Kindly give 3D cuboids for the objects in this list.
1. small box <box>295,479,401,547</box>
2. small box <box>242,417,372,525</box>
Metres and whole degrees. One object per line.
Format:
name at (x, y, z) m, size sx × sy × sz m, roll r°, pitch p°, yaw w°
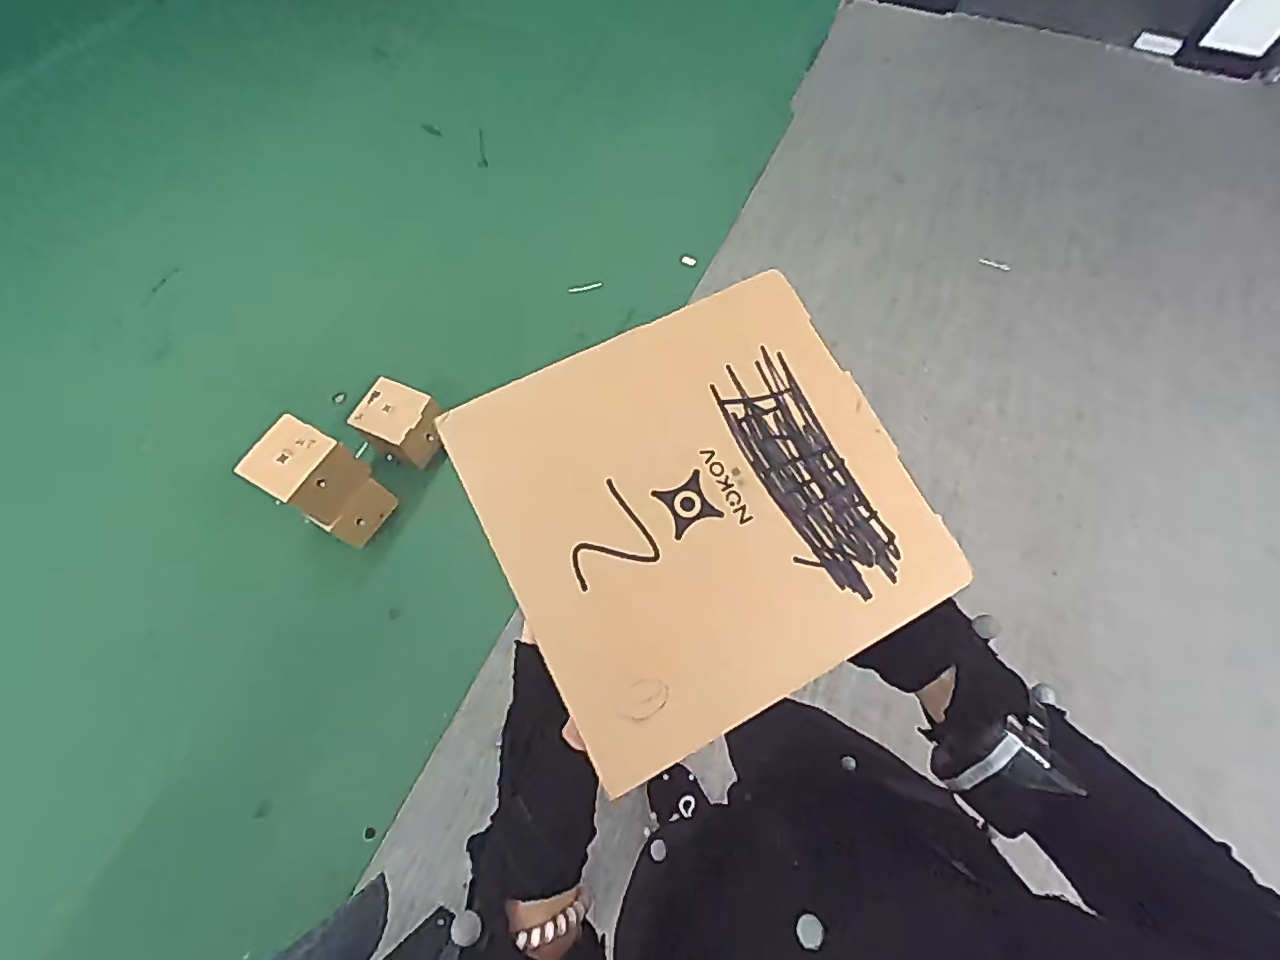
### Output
small box at (-0.789, 0.064, 1.462) m, size 0.179 × 0.176 × 0.168 m, roll 28°, pitch 70°, yaw 14°
small box at (-0.798, -0.015, 1.317) m, size 0.168 × 0.176 × 0.179 m, roll 27°, pitch 69°, yaw 13°
